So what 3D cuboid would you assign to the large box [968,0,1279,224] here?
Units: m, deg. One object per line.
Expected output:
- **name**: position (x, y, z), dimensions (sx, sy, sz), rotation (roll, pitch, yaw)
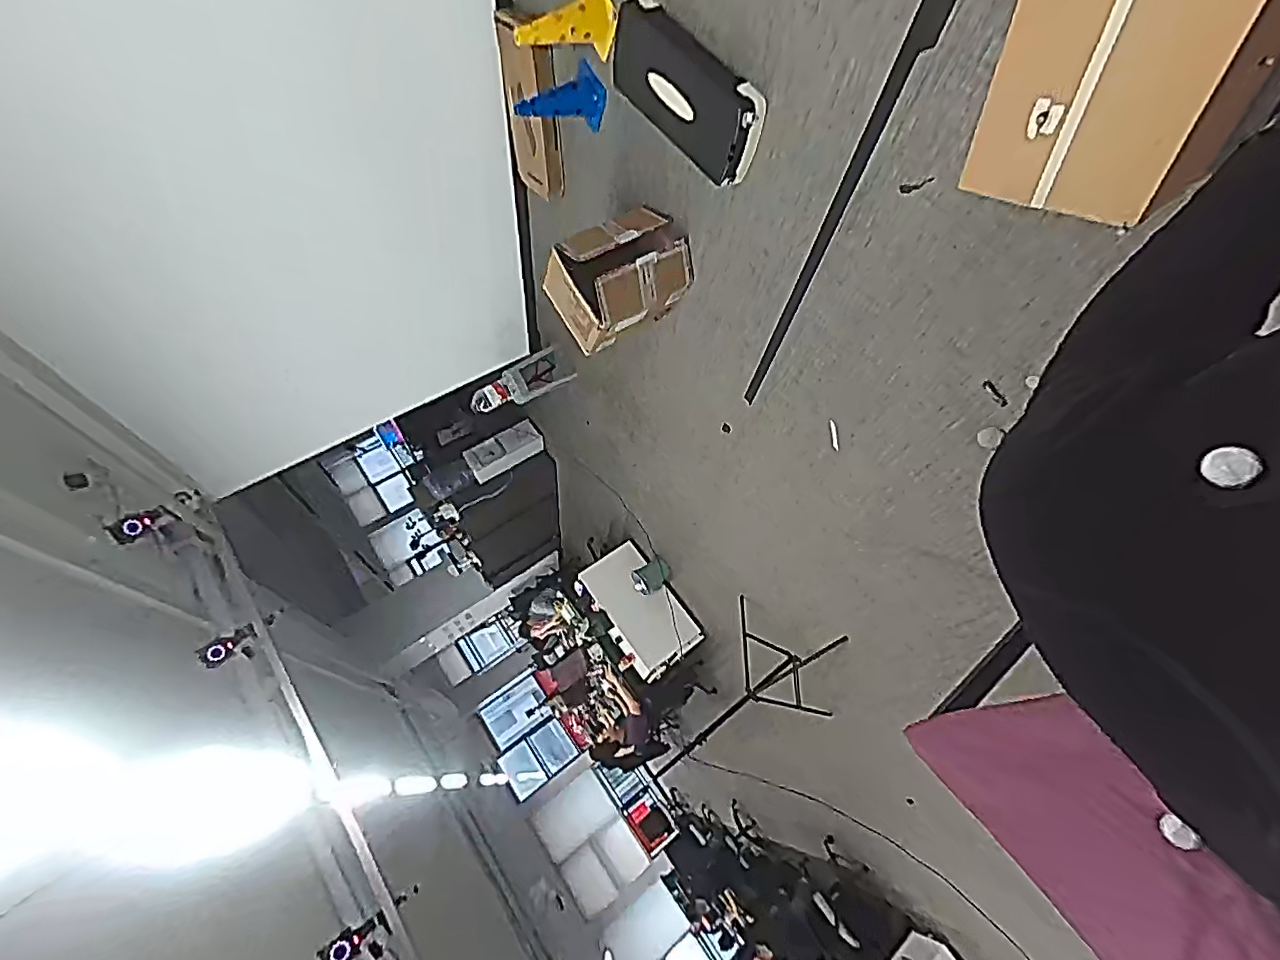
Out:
- **large box**: position (0.829, -0.709, 0.883), dimensions (0.320, 0.320, 0.408), rotation (43, 155, 36)
